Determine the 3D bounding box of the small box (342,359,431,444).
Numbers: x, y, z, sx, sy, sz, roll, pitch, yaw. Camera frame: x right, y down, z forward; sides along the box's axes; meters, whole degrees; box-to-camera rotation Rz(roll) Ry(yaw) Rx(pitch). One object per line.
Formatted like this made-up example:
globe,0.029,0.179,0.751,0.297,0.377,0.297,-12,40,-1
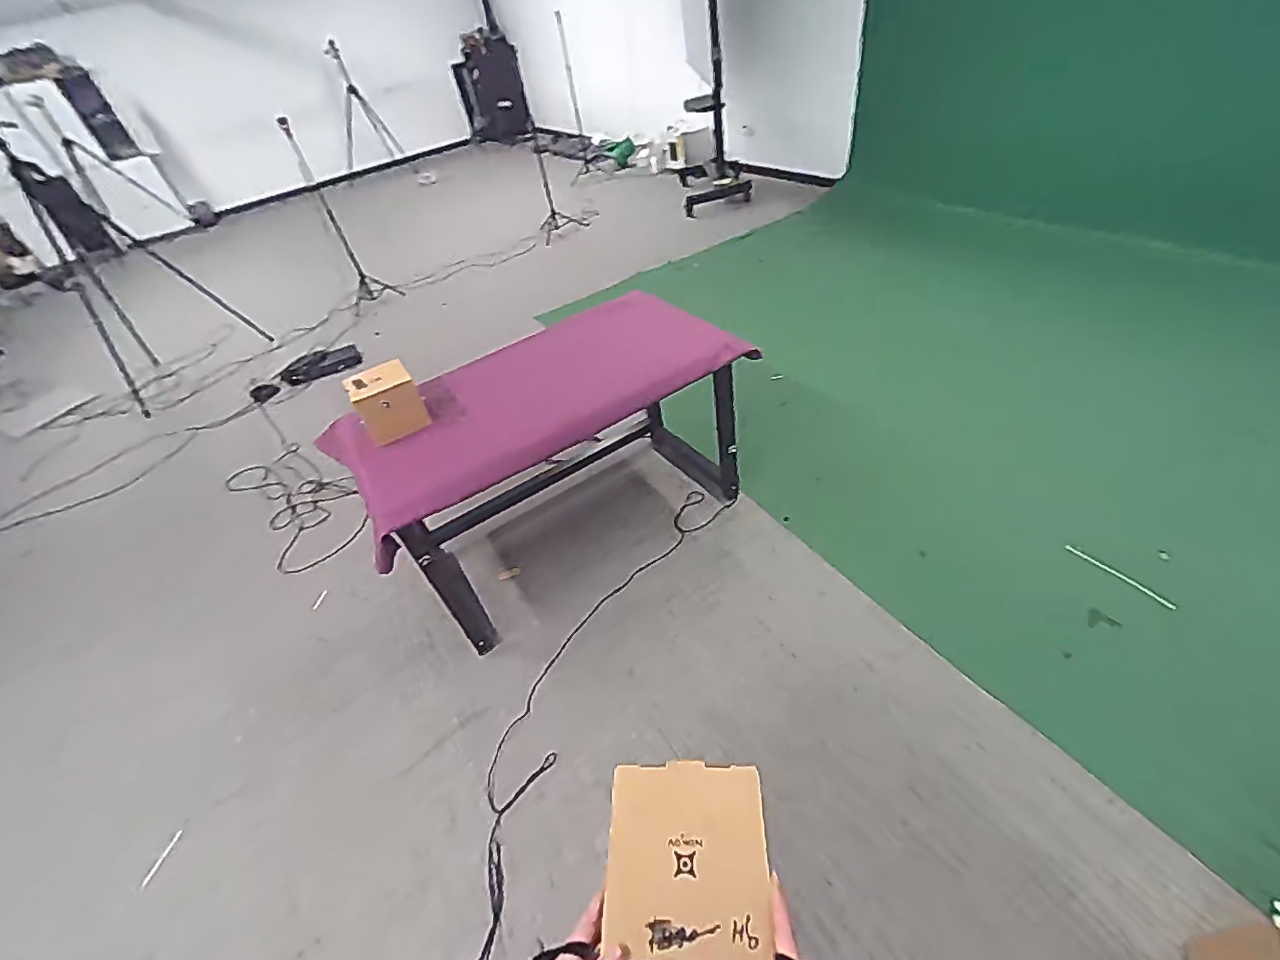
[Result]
small box,-0.766,-0.236,1.643,0.179,0.176,0.168,-28,45,-19

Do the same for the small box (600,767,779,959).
small box,0.057,0.443,0.601,0.168,0.176,0.179,-4,42,7
